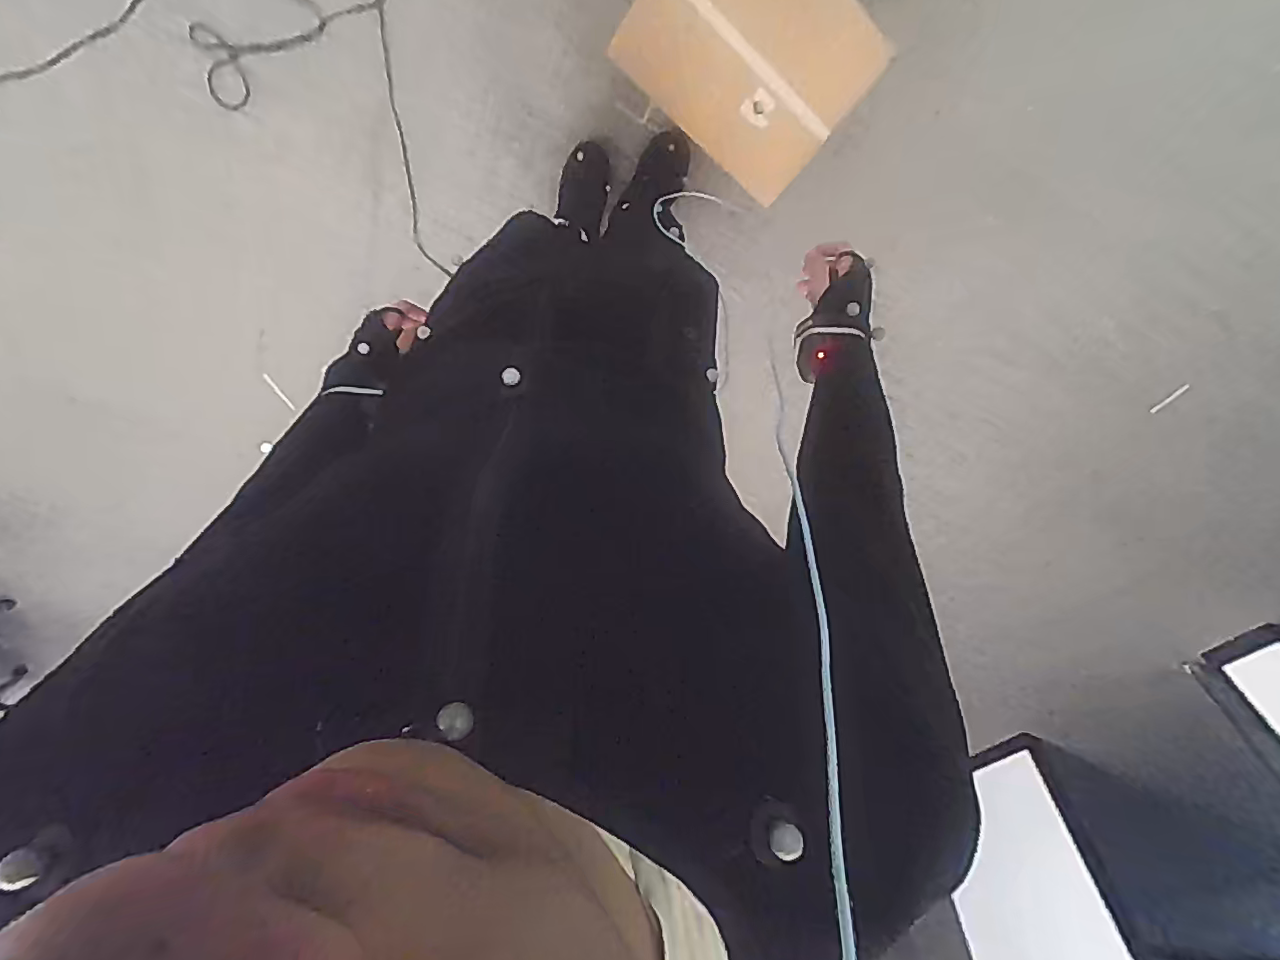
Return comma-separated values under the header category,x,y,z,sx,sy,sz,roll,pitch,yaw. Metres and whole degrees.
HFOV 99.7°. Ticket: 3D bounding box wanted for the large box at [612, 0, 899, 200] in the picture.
category,x,y,z,sx,sy,sz,roll,pitch,yaw
large box,0.199,-0.835,1.044,0.408,0.320,0.320,32,124,-22
